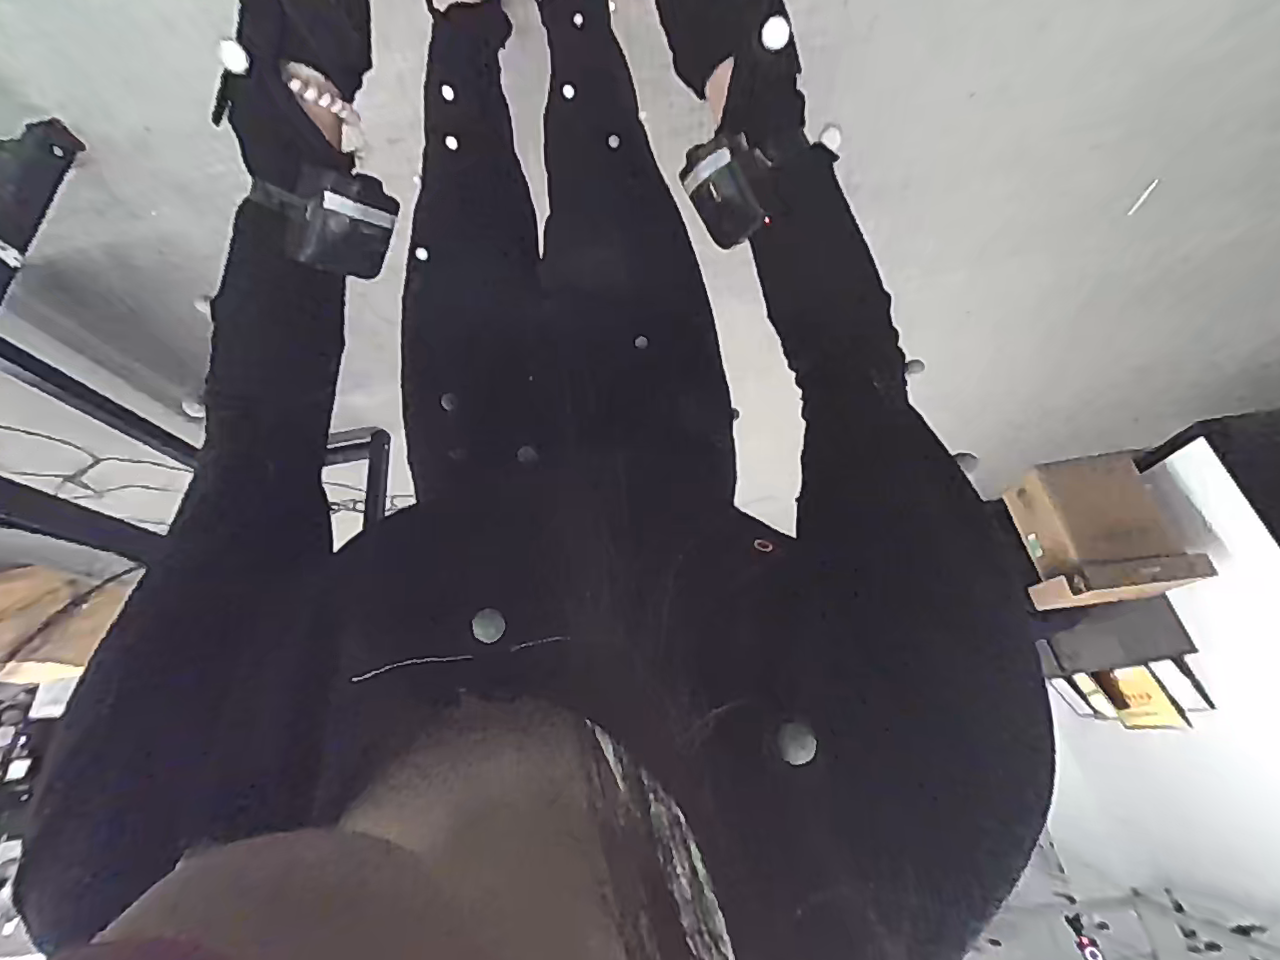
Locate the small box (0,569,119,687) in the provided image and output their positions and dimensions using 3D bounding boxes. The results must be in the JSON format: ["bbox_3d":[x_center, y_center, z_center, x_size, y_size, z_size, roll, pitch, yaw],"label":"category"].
[{"bbox_3d":[-1.125,0.274,0.992,0.179,0.176,0.168,-10,155,4],"label":"small box"}]
